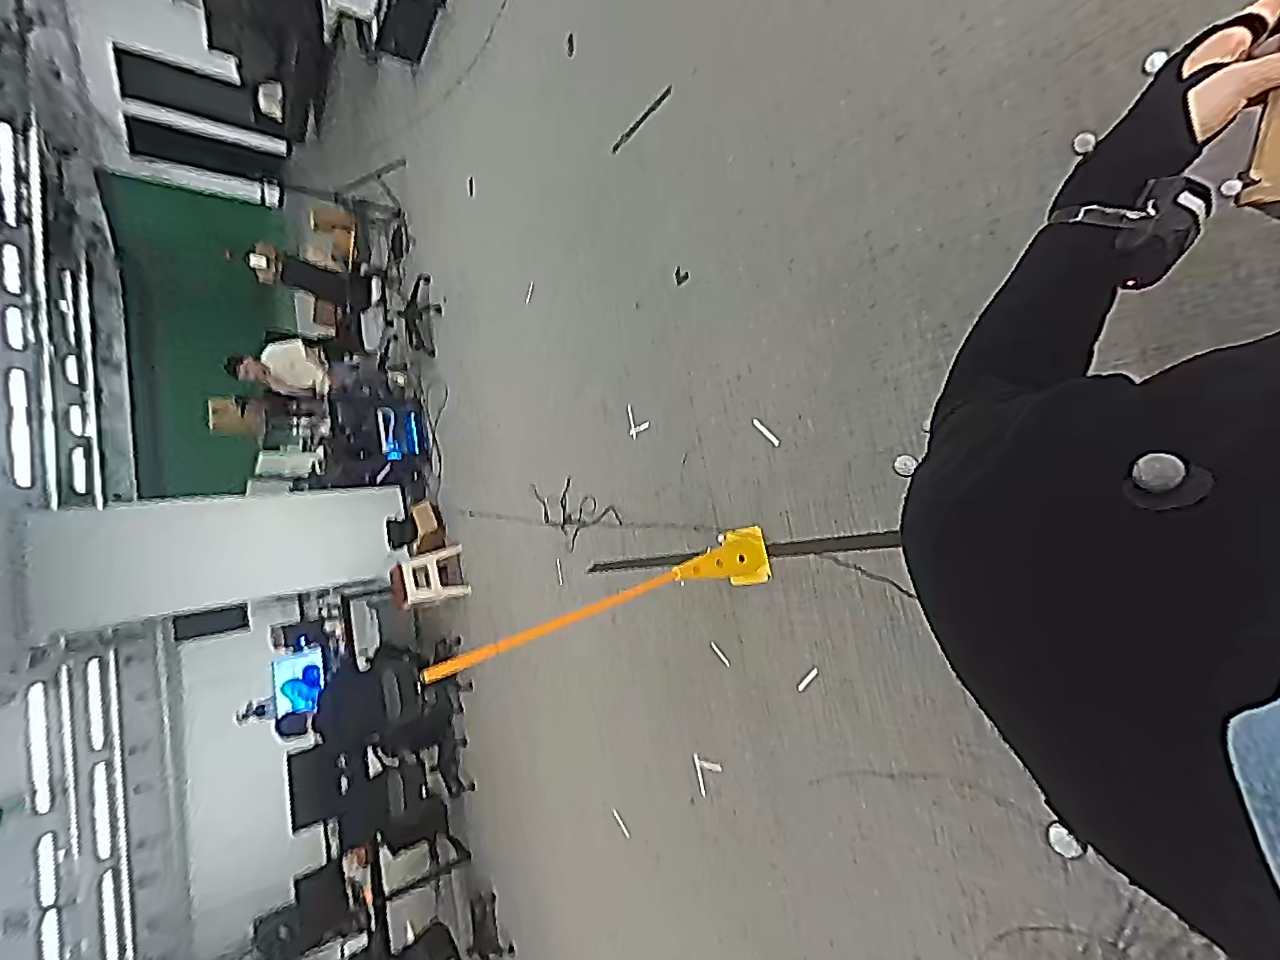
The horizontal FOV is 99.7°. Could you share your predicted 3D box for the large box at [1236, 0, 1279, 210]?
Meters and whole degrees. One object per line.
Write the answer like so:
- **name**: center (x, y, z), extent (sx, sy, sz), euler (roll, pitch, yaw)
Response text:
- **large box**: center (0.675, -0.342, 0.276), extent (0.408, 0.320, 0.320), euler (22, 117, 57)
